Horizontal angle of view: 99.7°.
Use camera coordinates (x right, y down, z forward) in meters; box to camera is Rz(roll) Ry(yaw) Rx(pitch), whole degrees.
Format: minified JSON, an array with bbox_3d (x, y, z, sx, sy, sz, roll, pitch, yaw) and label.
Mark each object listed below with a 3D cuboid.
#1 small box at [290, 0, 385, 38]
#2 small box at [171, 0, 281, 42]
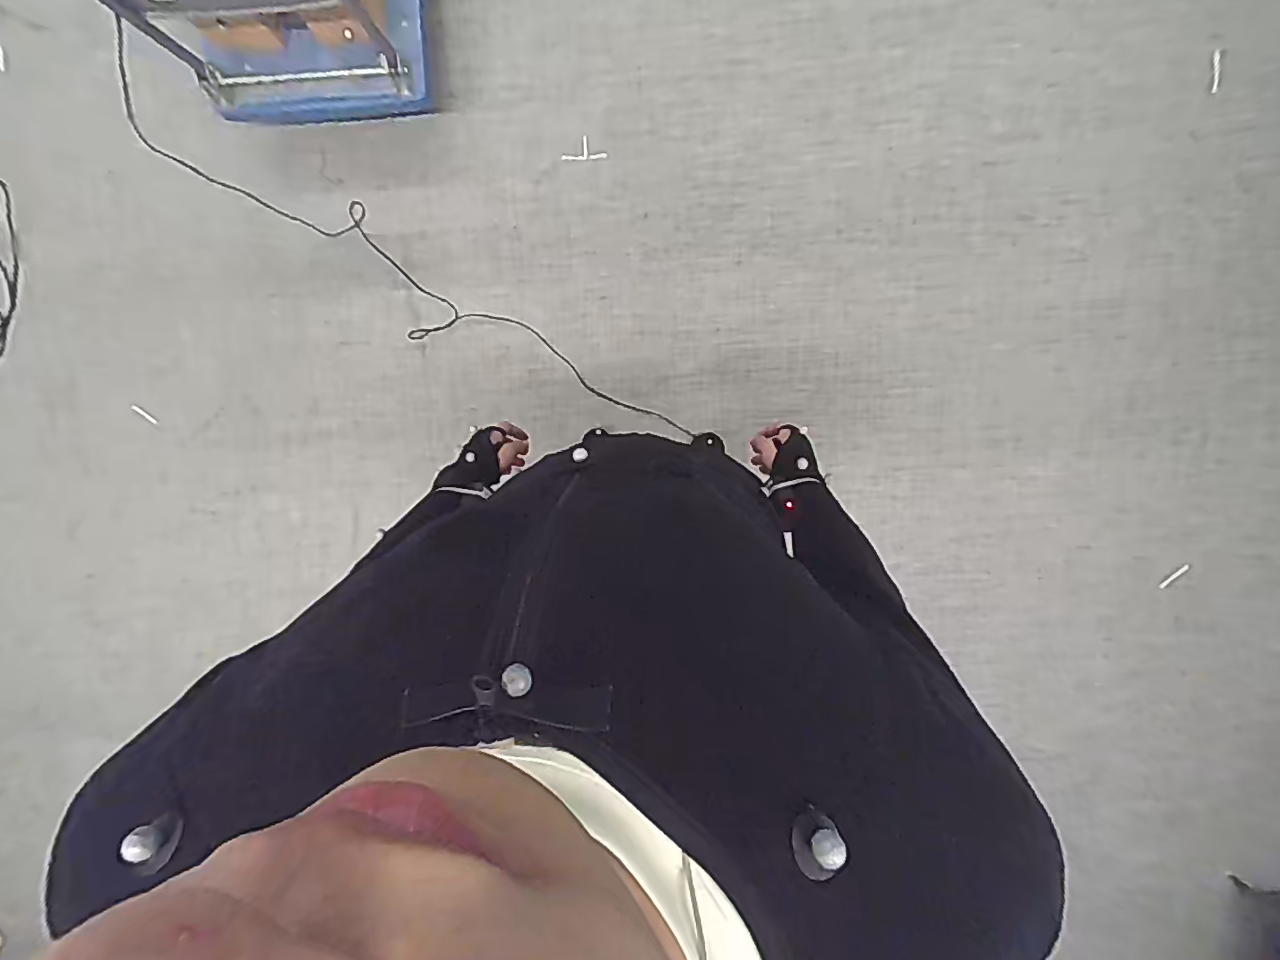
[{"bbox_3d":[-0.724,-1.191,1.274,0.179,0.176,0.168,-4,96,2],"label":"small box"},{"bbox_3d":[-0.987,-1.183,1.284,0.179,0.176,0.168,1,96,2],"label":"small box"}]
